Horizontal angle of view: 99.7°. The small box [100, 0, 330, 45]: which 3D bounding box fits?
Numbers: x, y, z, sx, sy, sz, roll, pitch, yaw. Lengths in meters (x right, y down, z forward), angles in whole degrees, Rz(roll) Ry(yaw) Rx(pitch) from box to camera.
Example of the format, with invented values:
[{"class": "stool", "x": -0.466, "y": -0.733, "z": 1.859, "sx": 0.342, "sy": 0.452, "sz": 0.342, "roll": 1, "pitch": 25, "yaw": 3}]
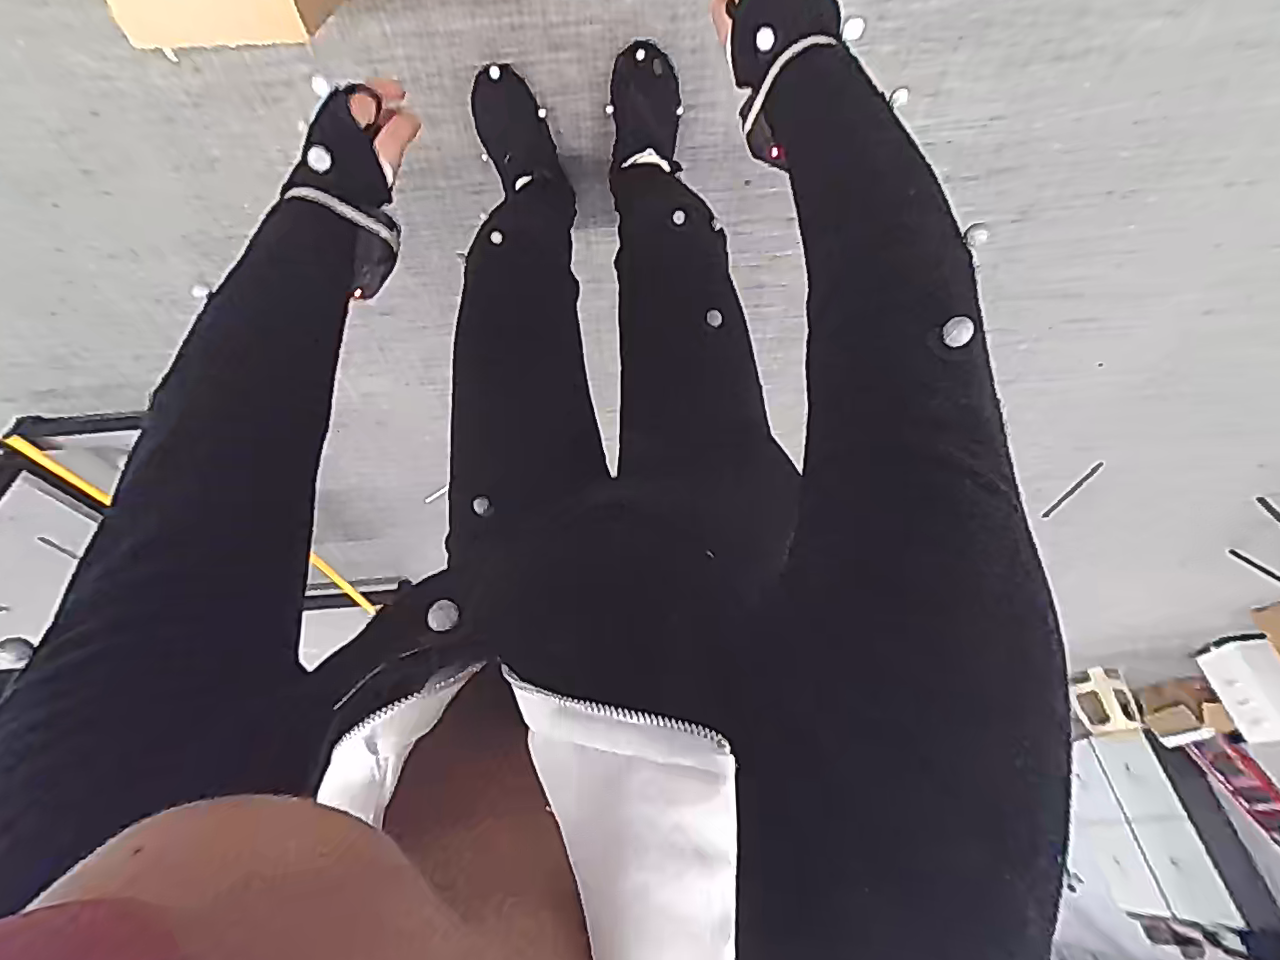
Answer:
[{"class": "small box", "x": -0.421, "y": -0.542, "z": 0.514, "sx": 0.179, "sy": 0.176, "sz": 0.168, "roll": -3, "pitch": 145, "yaw": -2}]
